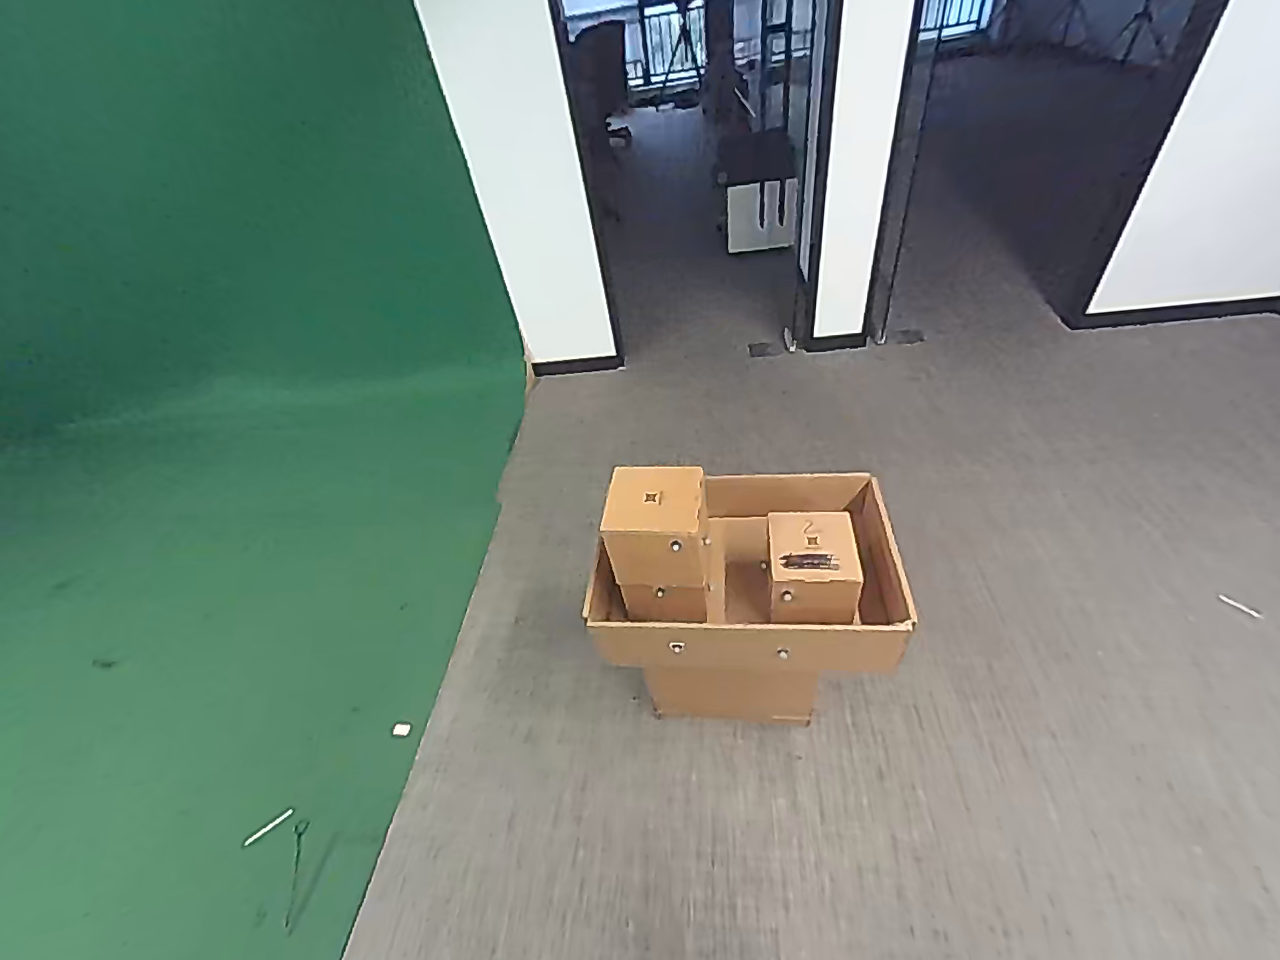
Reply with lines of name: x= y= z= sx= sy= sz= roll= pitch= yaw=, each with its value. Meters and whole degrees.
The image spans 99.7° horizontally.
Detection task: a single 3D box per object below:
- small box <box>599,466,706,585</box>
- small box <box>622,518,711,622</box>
small box: x=0.033 y=0.090 z=1.049 sx=0.179 sy=0.176 sz=0.168 roll=0 pitch=45 yaw=11
small box: x=0.059 y=0.193 z=1.172 sx=0.179 sy=0.176 sz=0.168 roll=0 pitch=45 yaw=10
